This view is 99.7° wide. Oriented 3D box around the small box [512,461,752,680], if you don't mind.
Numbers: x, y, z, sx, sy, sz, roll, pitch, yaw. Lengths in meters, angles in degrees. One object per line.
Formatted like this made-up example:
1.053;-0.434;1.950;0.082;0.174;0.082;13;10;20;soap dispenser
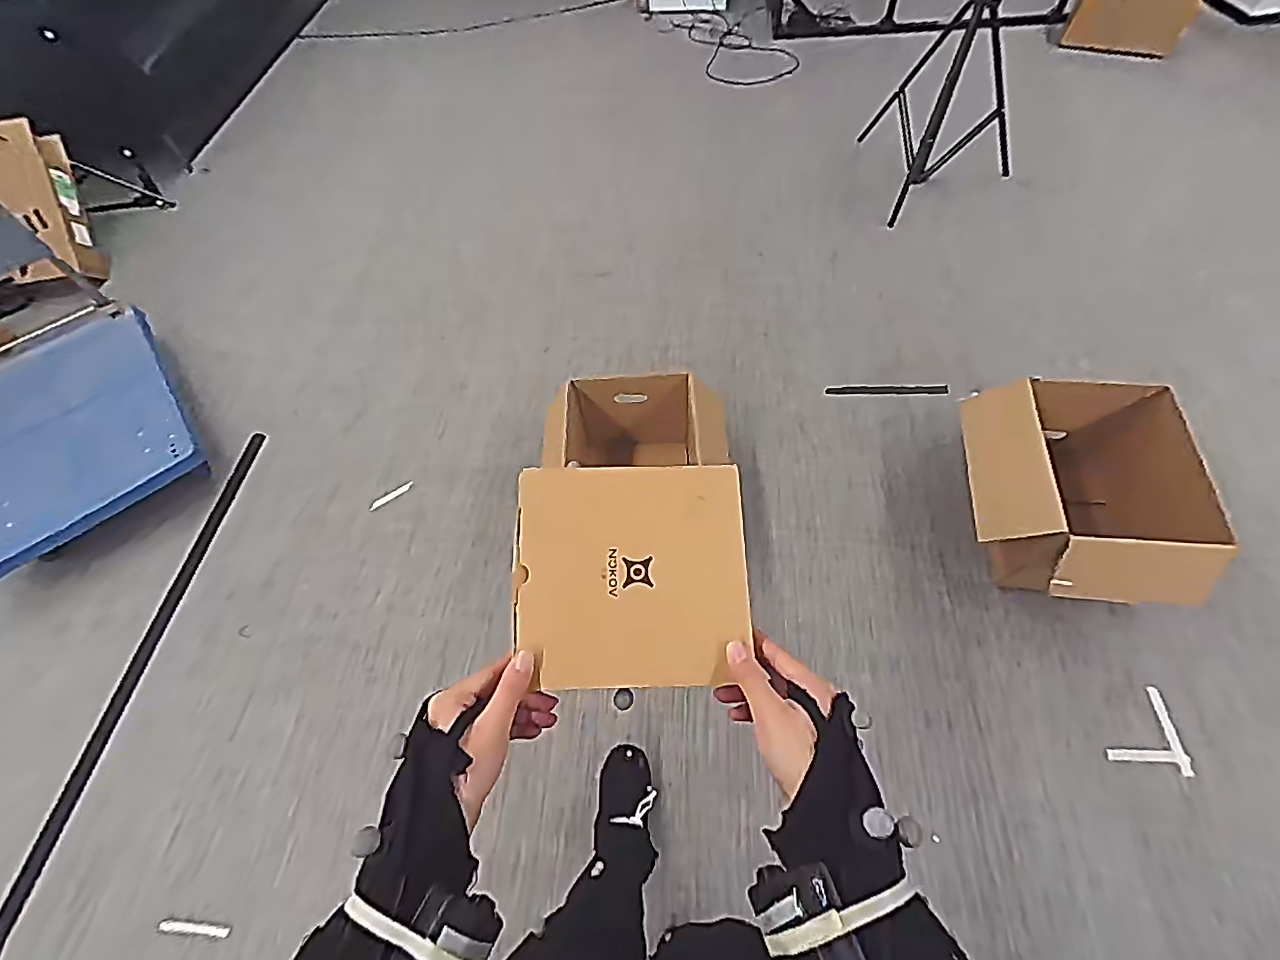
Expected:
-0.007;0.086;0.486;0.179;0.176;0.168;-2;73;0;small box
